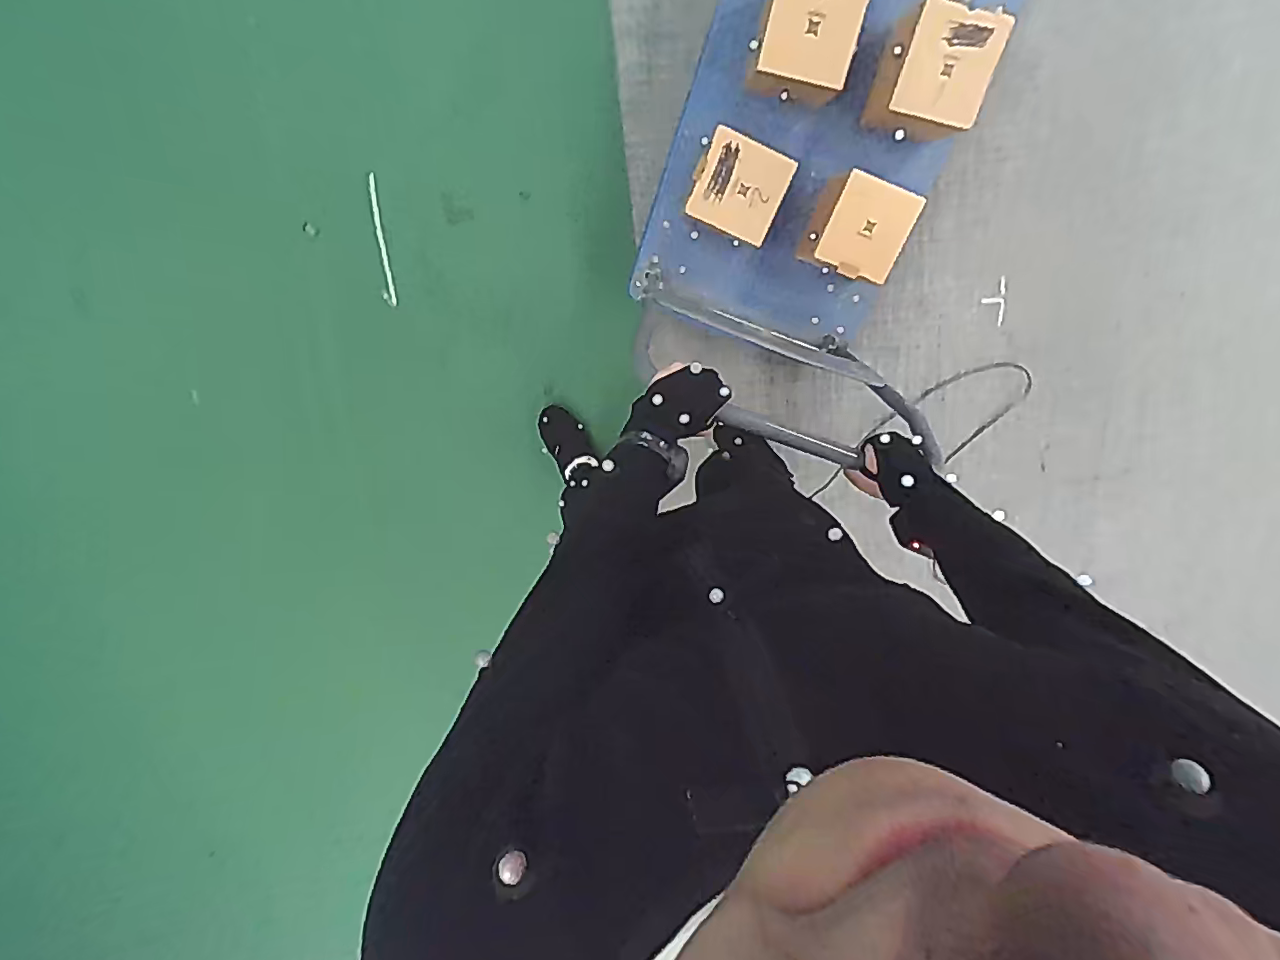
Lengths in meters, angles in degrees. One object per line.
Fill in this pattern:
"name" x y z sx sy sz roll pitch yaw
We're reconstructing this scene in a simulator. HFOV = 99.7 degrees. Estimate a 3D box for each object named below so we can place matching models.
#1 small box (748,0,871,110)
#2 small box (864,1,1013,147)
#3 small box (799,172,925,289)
"small box" 0.316 -0.842 1.039 0.168 0.176 0.179 11 114 -4
"small box" 0.568 -0.781 1.061 0.168 0.176 0.179 12 114 -3
"small box" 0.466 -0.538 1.173 0.168 0.176 0.179 19 114 -7
